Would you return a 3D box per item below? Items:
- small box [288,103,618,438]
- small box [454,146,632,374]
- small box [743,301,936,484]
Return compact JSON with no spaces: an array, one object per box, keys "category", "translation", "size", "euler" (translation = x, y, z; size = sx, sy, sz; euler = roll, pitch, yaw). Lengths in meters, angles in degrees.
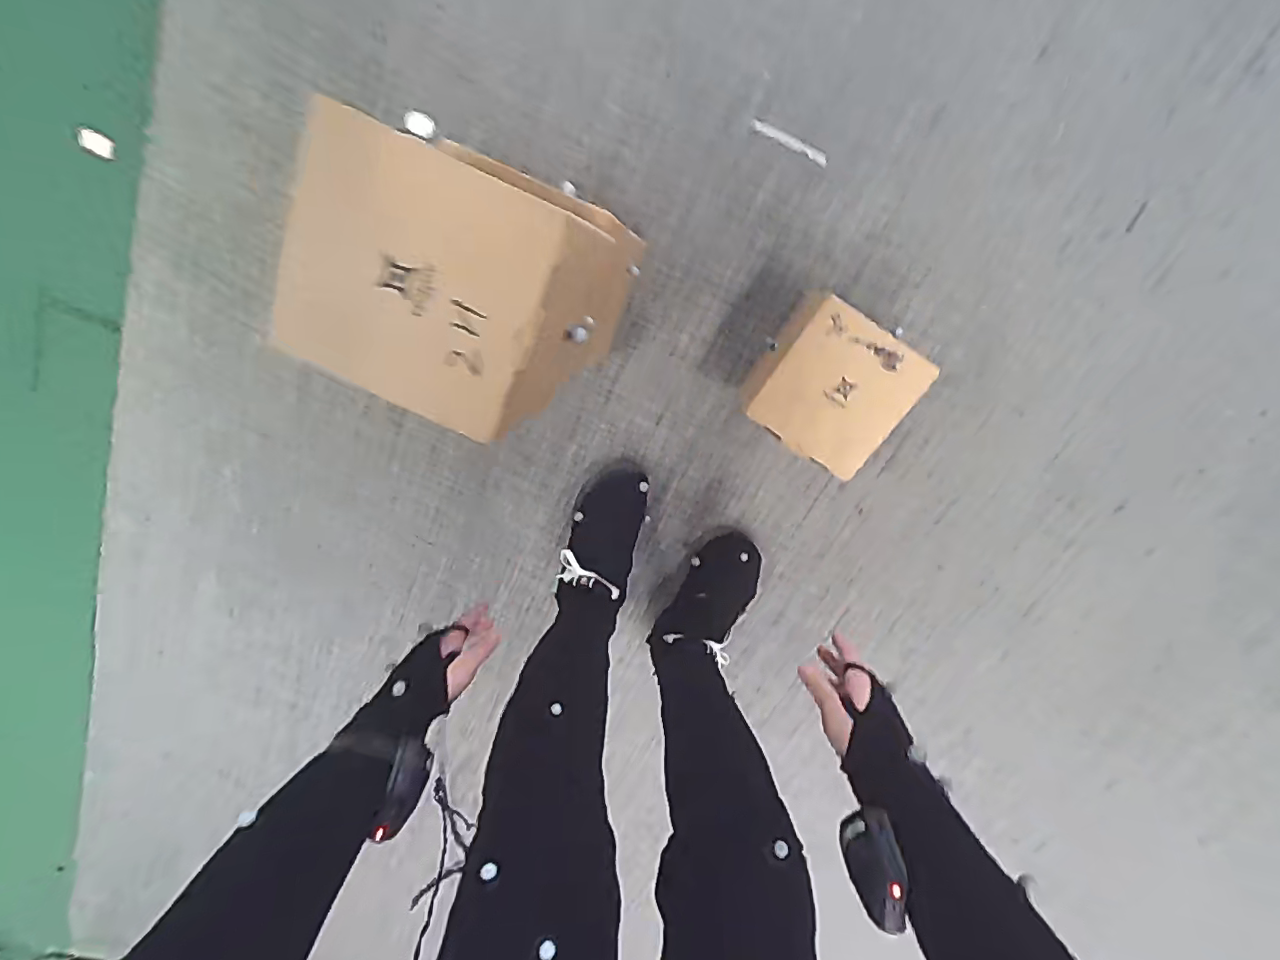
[{"category":"small box","translation":[-0.135,-0.157,0.443],"size":[0.179,0.176,0.168],"euler":[25,109,-2]},{"category":"small box","translation":[-0.118,-0.221,0.595],"size":[0.168,0.176,0.179],"euler":[24,108,-2]},{"category":"small box","translation":[0.259,-0.129,0.753],"size":[0.168,0.176,0.179],"euler":[33,110,-5]}]
